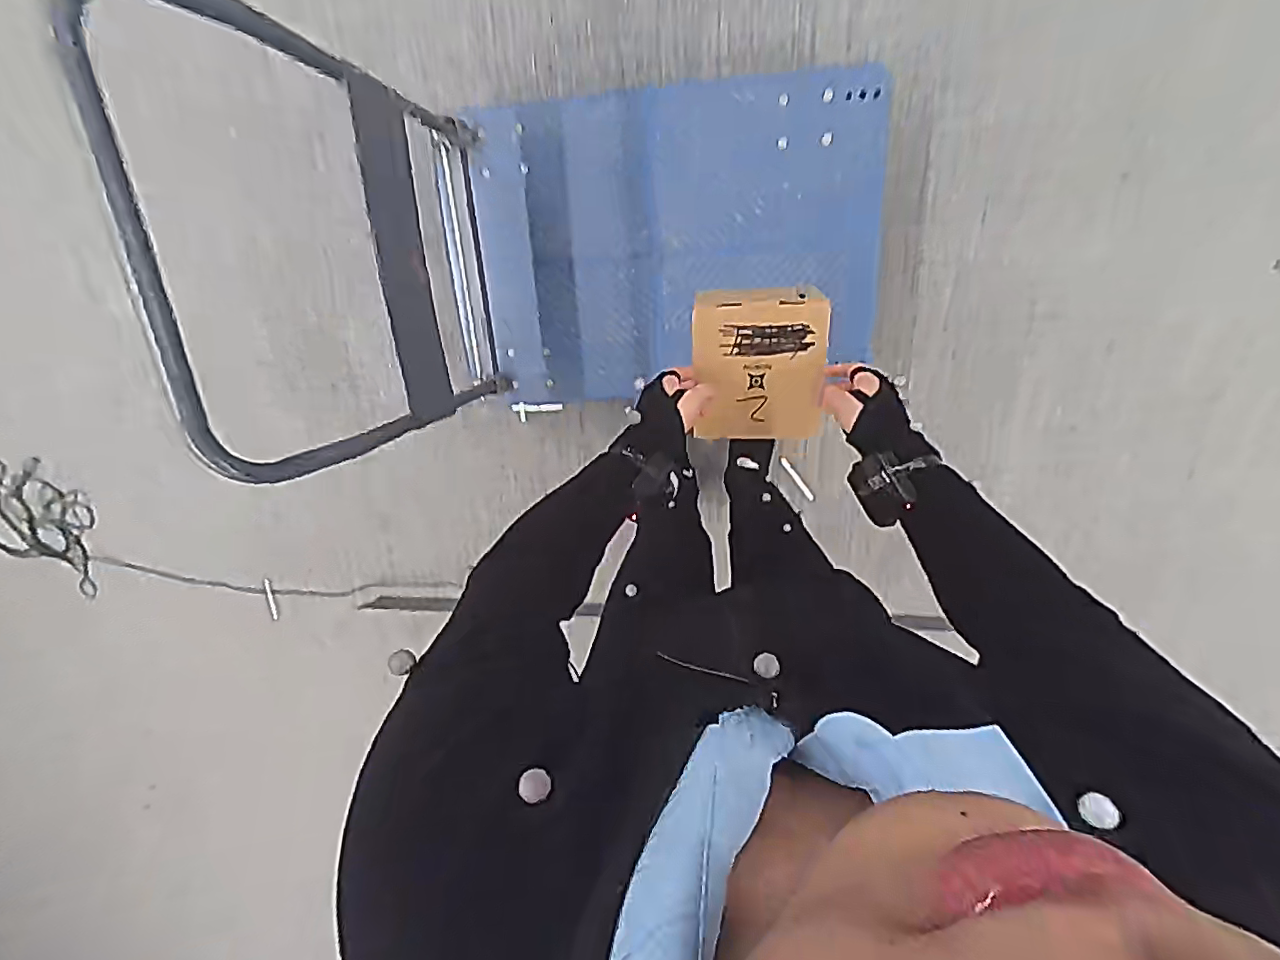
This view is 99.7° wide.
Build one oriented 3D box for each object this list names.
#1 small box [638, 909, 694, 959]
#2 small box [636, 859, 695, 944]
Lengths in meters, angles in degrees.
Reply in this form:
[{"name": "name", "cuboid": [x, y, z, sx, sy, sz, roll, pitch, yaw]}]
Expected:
[{"name": "small box", "cuboid": [0.082, 1.481, 1.671, 0.168, 0.176, 0.179, 0, 108, 6]}, {"name": "small box", "cuboid": [0.090, 1.423, 1.823, 0.168, 0.176, 0.179, -12, 107, 9]}]
